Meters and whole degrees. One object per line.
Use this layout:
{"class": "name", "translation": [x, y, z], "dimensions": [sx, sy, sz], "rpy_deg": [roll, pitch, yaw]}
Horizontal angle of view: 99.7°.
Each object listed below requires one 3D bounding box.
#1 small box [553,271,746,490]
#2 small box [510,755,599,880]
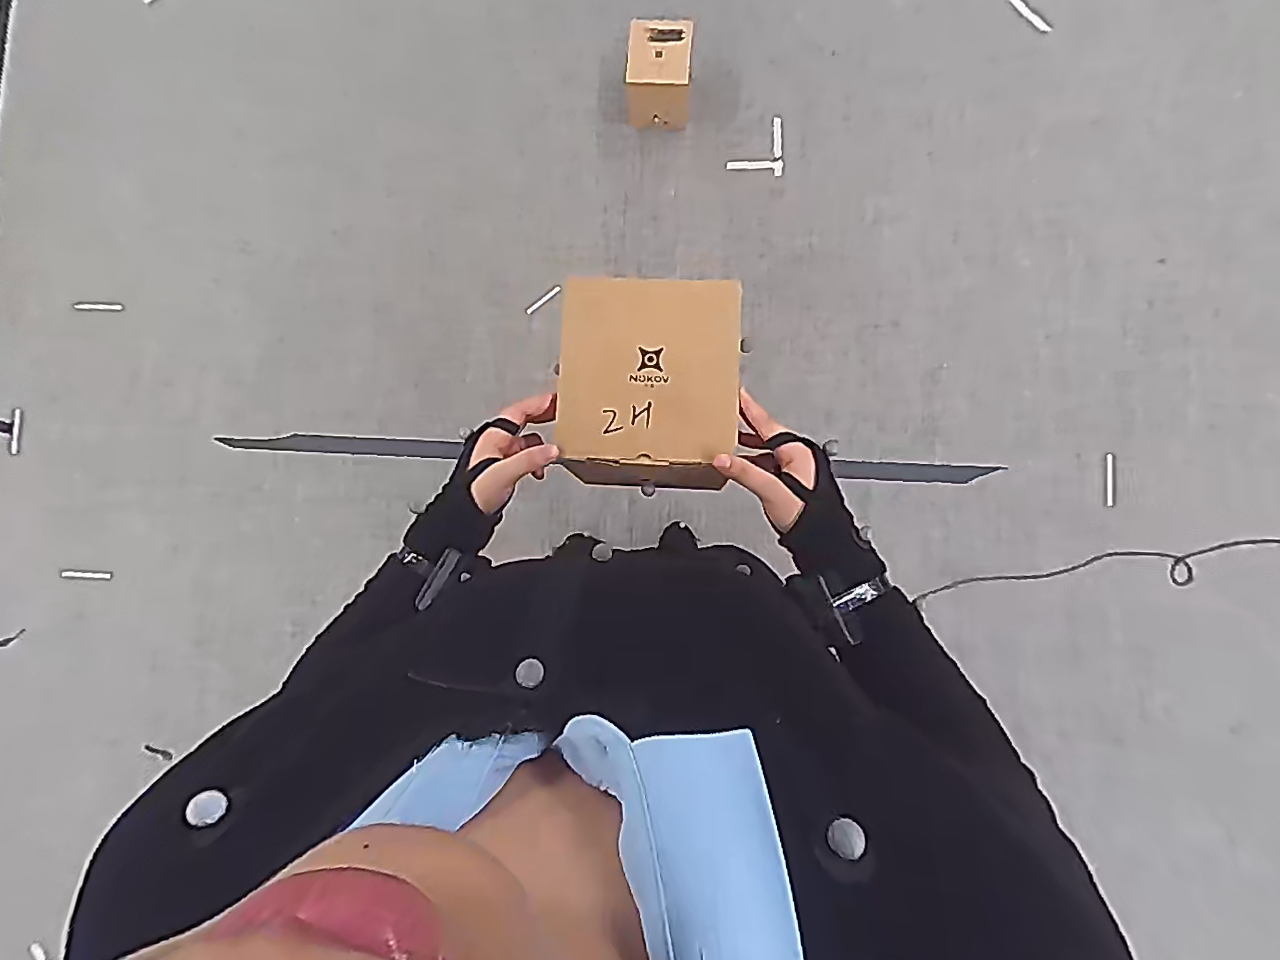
{"class": "small box", "translation": [0.015, -0.092, 0.564], "dimensions": [0.168, 0.176, 0.179], "rpy_deg": [3, 81, 5]}
{"class": "small box", "translation": [-0.183, 0.739, 1.199], "dimensions": [0.168, 0.176, 0.179], "rpy_deg": [0, 86, 3]}
